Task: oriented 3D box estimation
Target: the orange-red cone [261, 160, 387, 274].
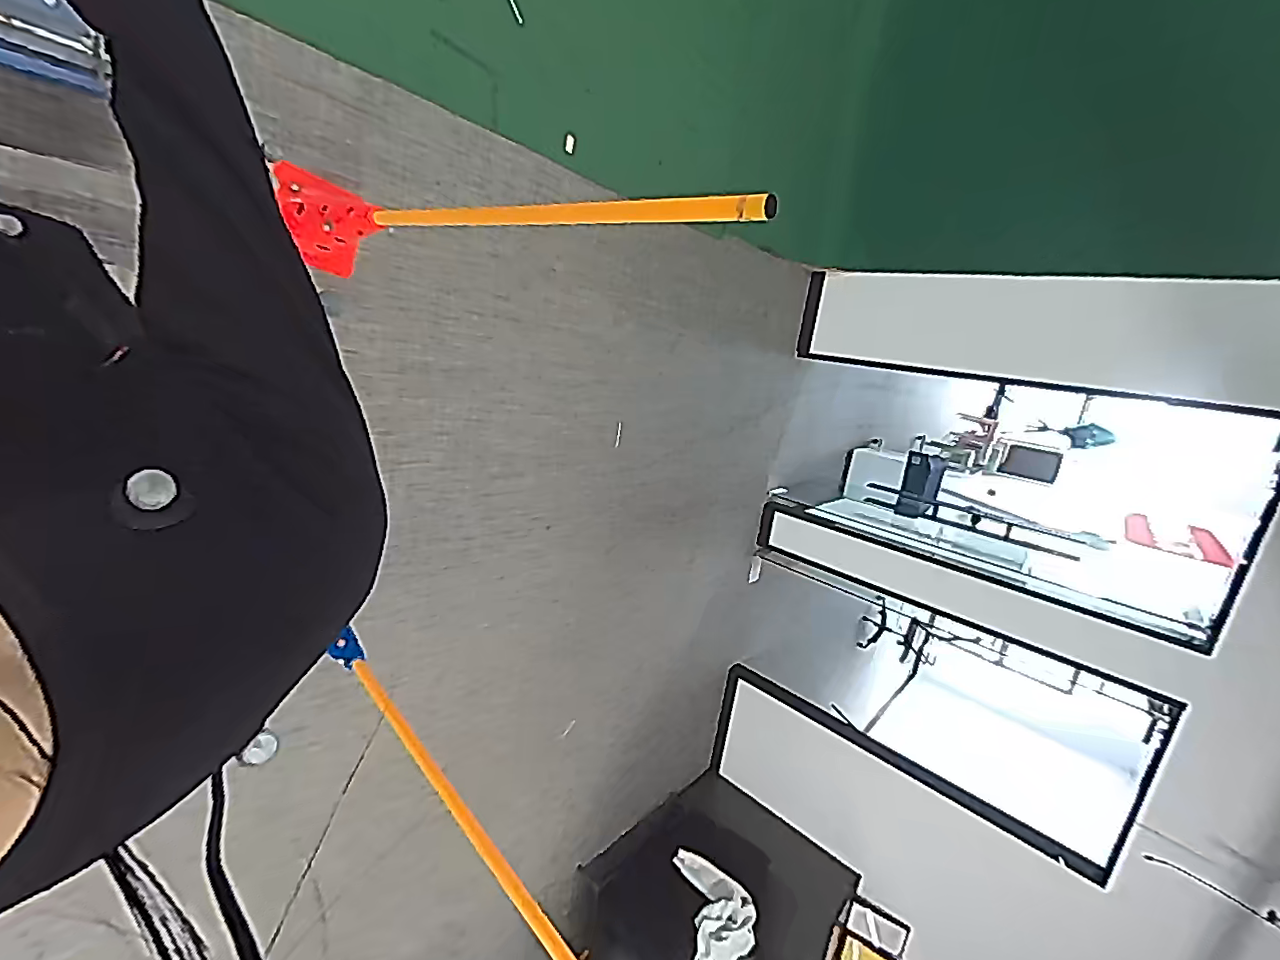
[{"bbox_3d":[-0.638,-0.564,1.163,0.198,0.360,0.199,10,99,-51],"label":"orange-red cone"}]
